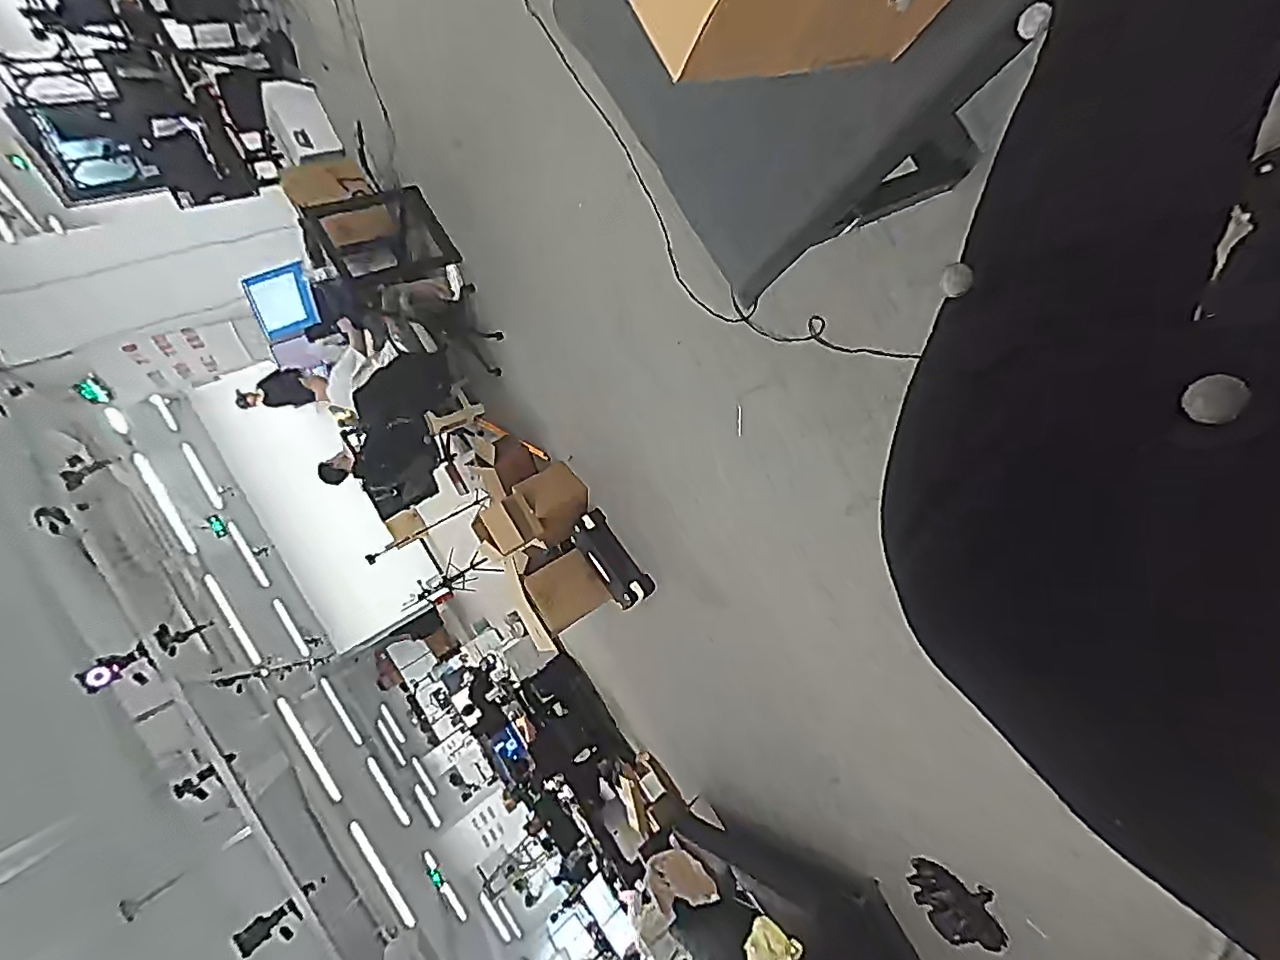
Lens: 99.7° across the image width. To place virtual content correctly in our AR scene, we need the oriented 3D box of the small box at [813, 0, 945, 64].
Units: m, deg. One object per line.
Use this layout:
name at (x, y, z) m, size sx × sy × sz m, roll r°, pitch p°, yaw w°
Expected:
small box at (0.218, -0.523, 0.493) m, size 0.168 × 0.176 × 0.179 m, roll 61°, pitch 151°, yaw 1°

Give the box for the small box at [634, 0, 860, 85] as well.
small box at (0.095, -0.452, 0.415) m, size 0.168 × 0.176 × 0.179 m, roll 62°, pitch 152°, yaw 2°
